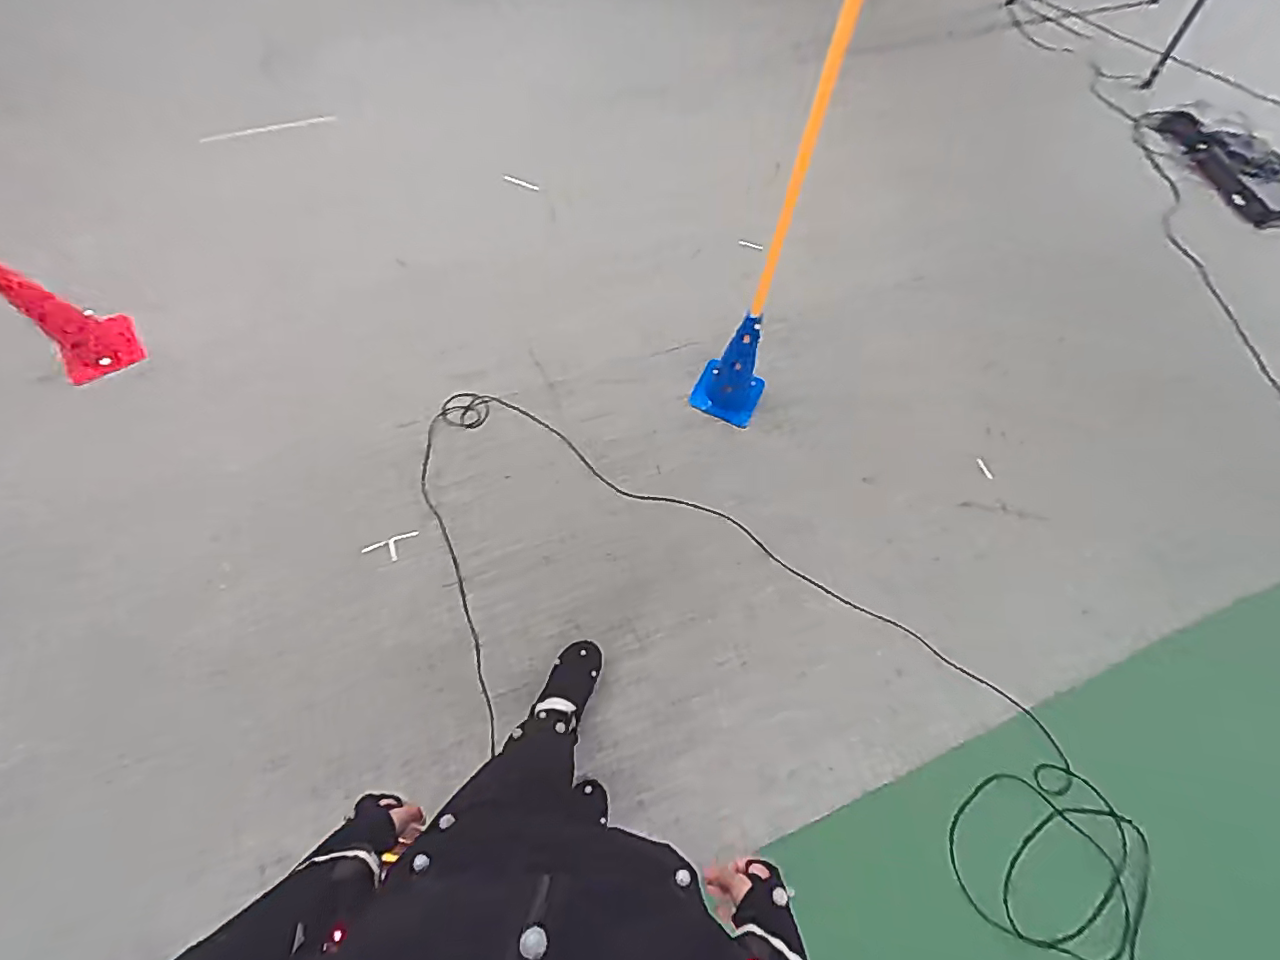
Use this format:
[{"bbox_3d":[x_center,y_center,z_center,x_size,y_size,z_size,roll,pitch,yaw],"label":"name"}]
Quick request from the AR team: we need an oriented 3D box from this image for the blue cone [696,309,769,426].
[{"bbox_3d":[0.286,-0.337,1.519,0.192,0.380,0.193,23,65,7],"label":"blue cone"}]
